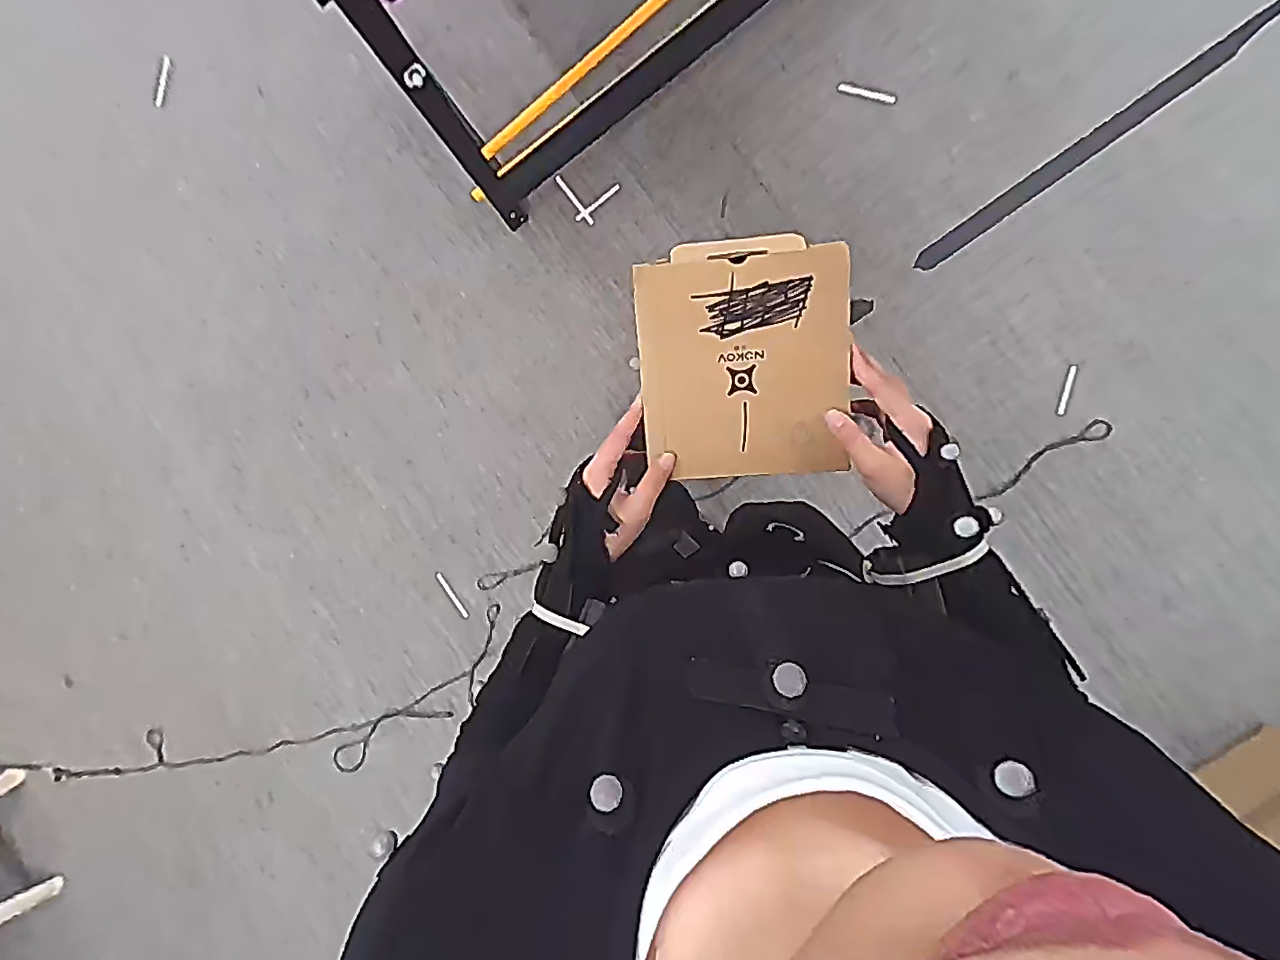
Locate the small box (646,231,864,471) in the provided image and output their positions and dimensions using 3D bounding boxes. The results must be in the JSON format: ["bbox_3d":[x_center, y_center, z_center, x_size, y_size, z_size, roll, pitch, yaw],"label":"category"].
[{"bbox_3d":[0.097,-0.109,0.497,0.168,0.176,0.179,-2,101,7],"label":"small box"}]
